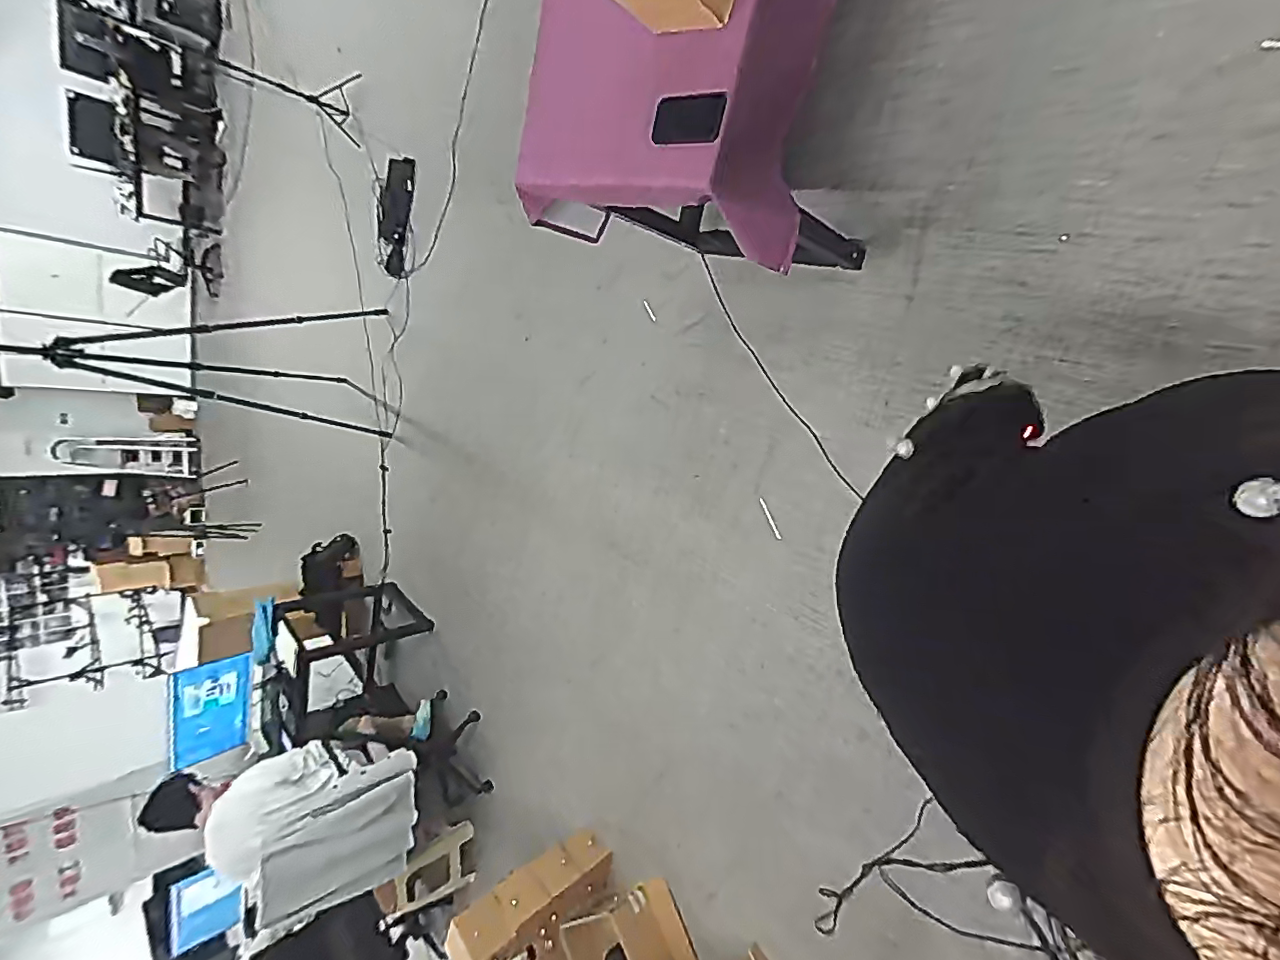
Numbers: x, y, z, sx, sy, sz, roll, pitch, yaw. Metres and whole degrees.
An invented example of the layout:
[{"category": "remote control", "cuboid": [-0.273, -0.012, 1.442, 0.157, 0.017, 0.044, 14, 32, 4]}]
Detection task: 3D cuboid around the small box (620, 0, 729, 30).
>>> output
[{"category": "small box", "cuboid": [0.048, -0.861, 0.865, 0.179, 0.176, 0.168, 31, 113, 35]}]
